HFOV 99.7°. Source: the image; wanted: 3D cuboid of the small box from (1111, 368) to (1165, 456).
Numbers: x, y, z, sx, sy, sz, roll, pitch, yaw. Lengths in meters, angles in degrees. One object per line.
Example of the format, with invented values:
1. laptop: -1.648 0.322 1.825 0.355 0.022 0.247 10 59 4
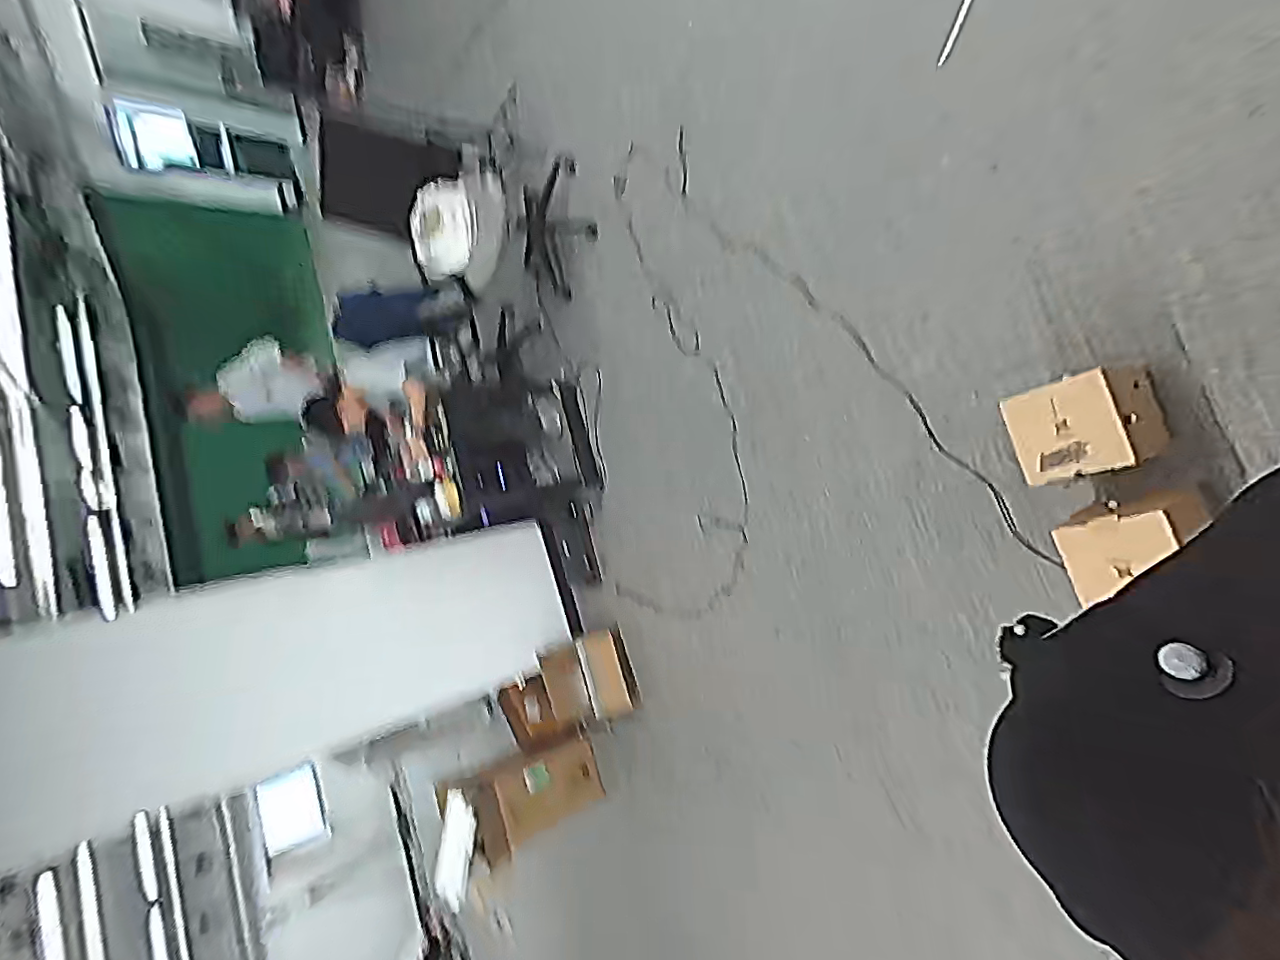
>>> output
1. small box: 0.956 -0.125 1.137 0.168 0.176 0.179 -23 79 52

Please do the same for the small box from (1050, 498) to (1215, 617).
1. small box: 0.905 0.138 0.995 0.168 0.176 0.179 -28 77 52

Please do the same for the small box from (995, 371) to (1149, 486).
1. small box: 0.828 -0.101 1.036 0.168 0.176 0.179 -25 77 52

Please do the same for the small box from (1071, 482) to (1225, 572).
1. small box: 1.031 0.112 1.098 0.179 0.176 0.168 -26 79 51
